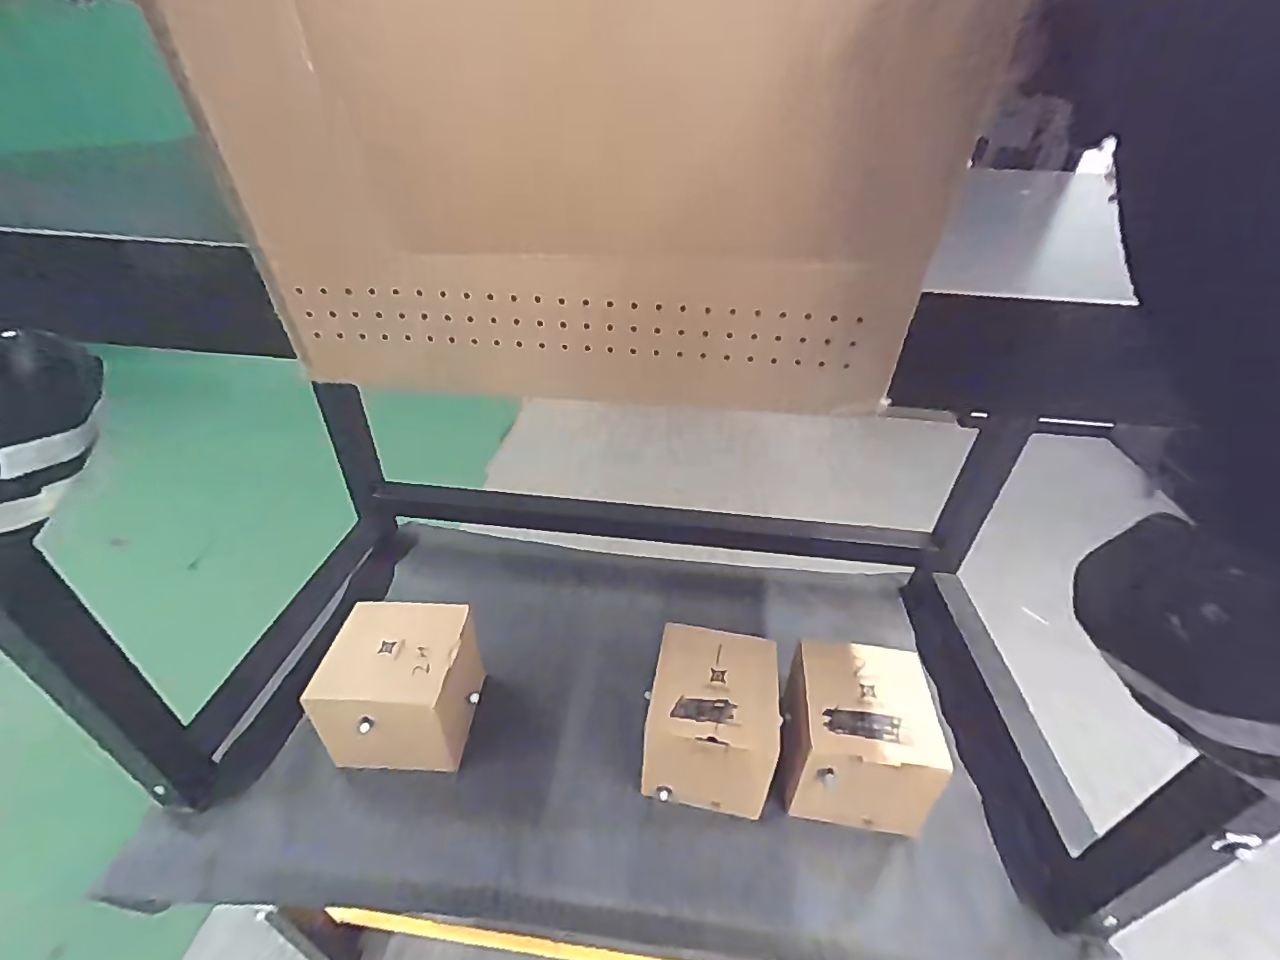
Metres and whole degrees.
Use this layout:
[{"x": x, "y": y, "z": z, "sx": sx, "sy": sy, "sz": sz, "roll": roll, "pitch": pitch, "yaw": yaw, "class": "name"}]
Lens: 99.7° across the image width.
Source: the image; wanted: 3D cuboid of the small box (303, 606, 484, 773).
[{"x": -0.344, "y": 0.307, "z": 0.796, "sx": 0.179, "sy": 0.176, "sz": 0.168, "roll": 3, "pitch": 35, "yaw": 0, "class": "small box"}]
